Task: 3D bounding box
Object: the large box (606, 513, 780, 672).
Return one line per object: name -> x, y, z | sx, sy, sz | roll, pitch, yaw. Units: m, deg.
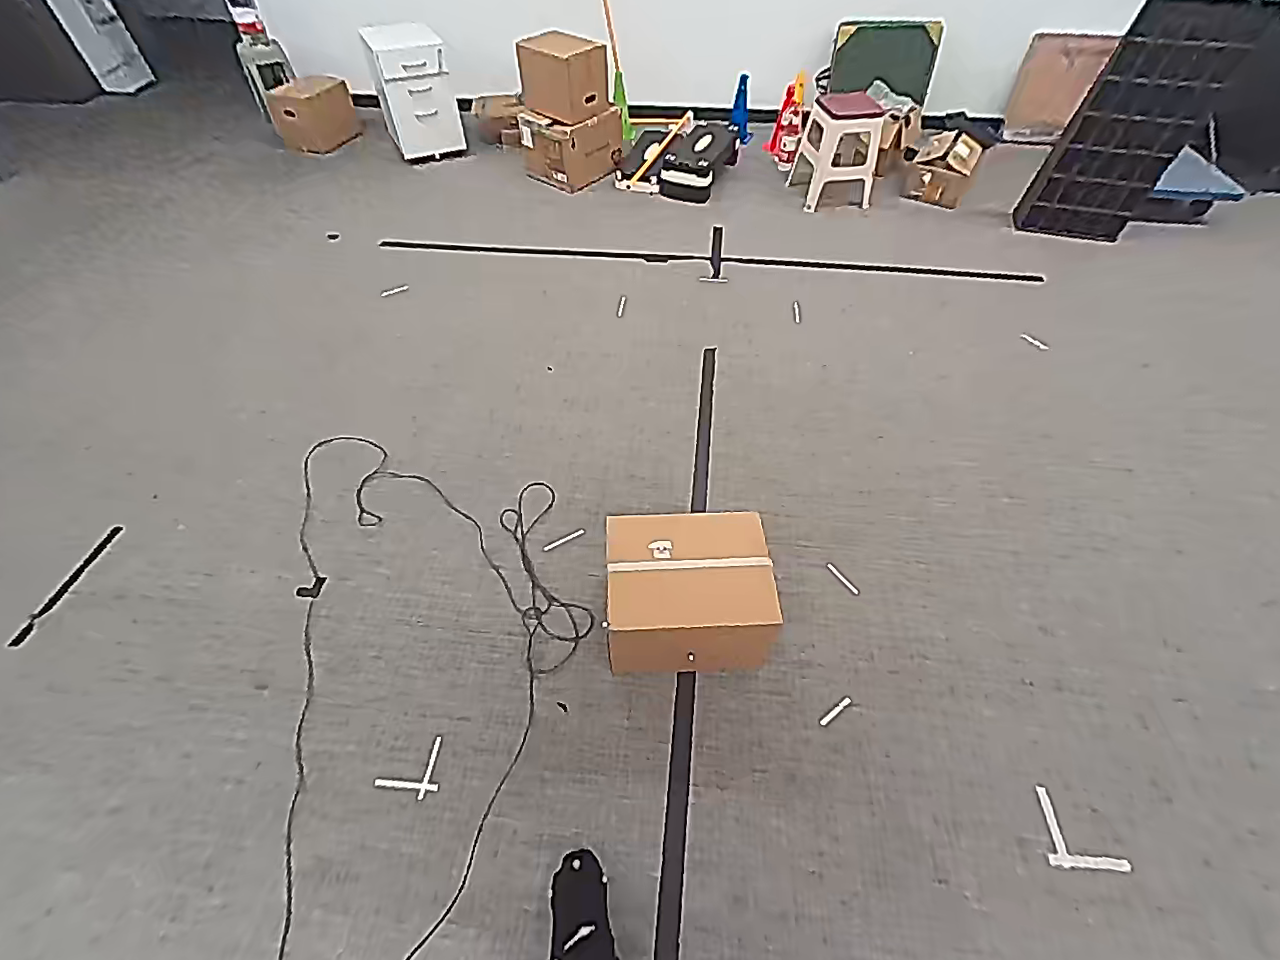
large box -> 0.120, 0.307, 1.446 | 0.408, 0.320, 0.320 | -2, 52, -1
